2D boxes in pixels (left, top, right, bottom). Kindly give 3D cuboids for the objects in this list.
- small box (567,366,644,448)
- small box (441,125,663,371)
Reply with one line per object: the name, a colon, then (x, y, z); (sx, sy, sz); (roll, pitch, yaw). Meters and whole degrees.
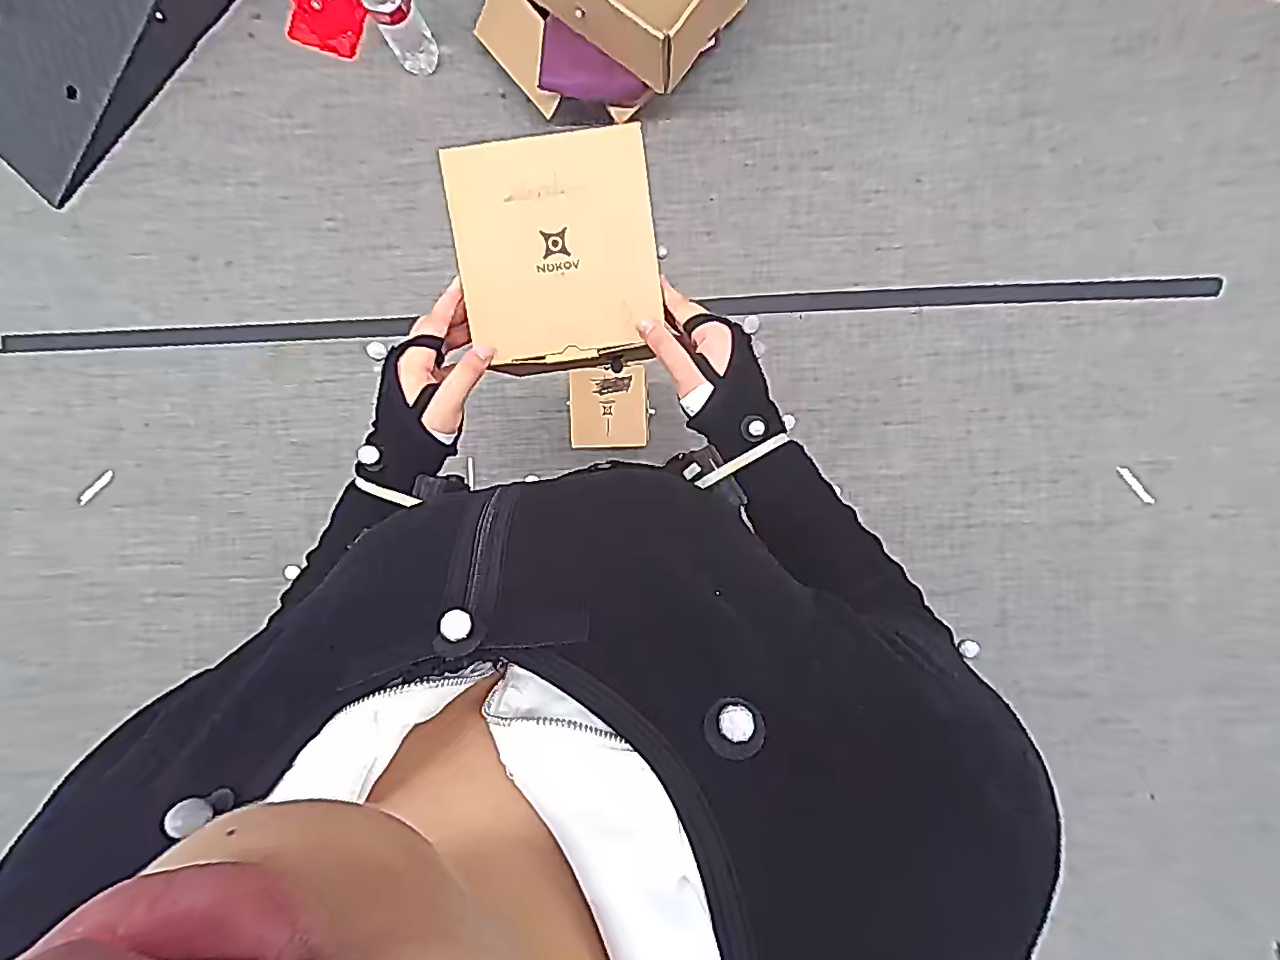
small box: (-0.075, -0.162, 1.244); (0.168, 0.176, 0.179); (-1, 94, 1)
small box: (-0.072, -0.203, 0.527); (0.168, 0.176, 0.179); (-8, 98, -1)
